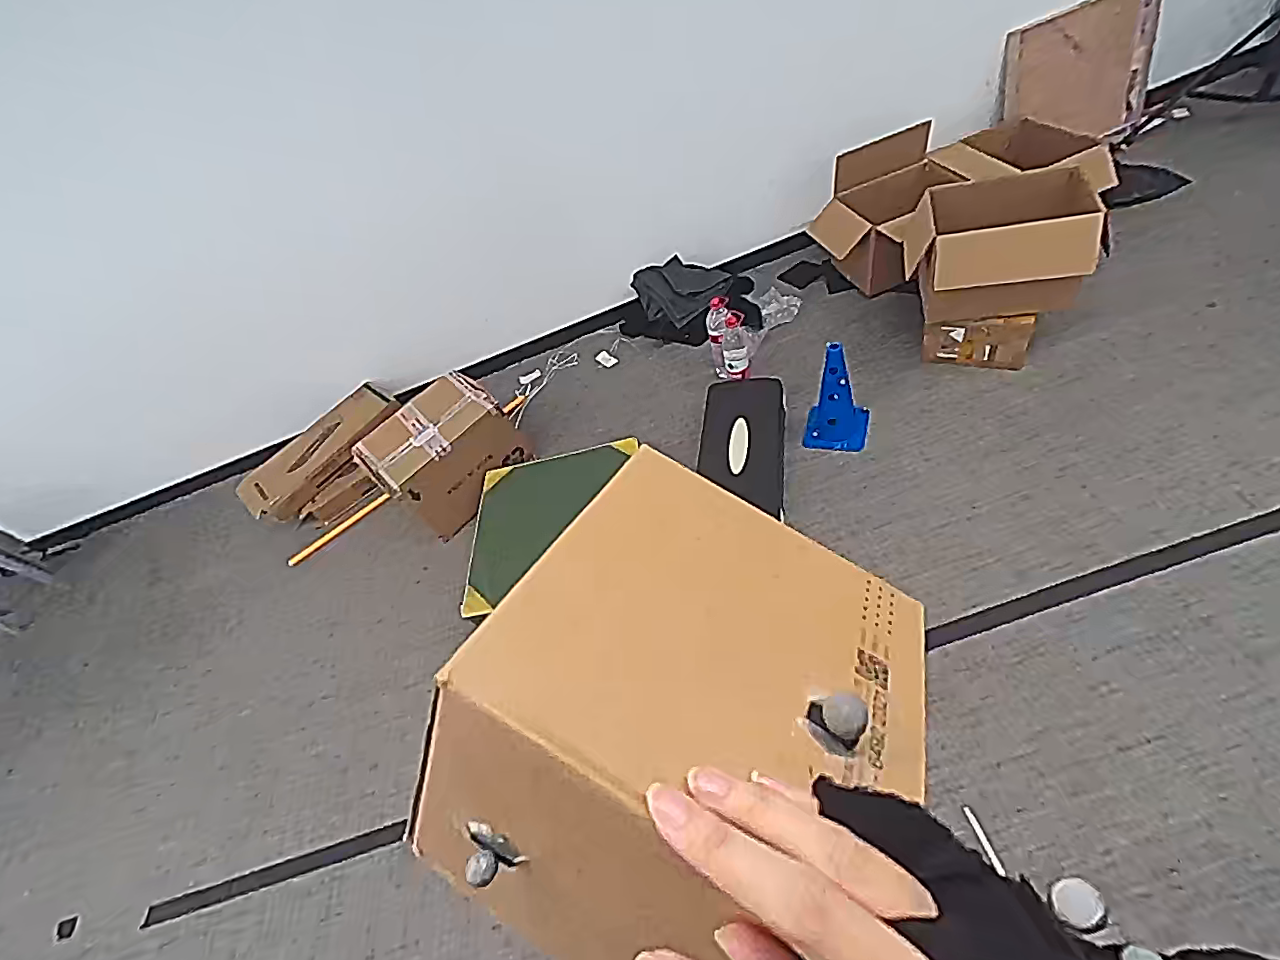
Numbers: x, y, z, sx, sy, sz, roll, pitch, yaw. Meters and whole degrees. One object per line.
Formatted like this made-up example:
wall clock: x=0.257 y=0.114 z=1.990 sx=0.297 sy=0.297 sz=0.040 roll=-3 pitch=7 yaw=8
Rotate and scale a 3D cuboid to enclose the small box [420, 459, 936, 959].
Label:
small box: x=0.017 y=0.129 z=0.273 sx=0.176 sy=0.179 sz=0.168 roll=30 pitch=39 yaw=7
